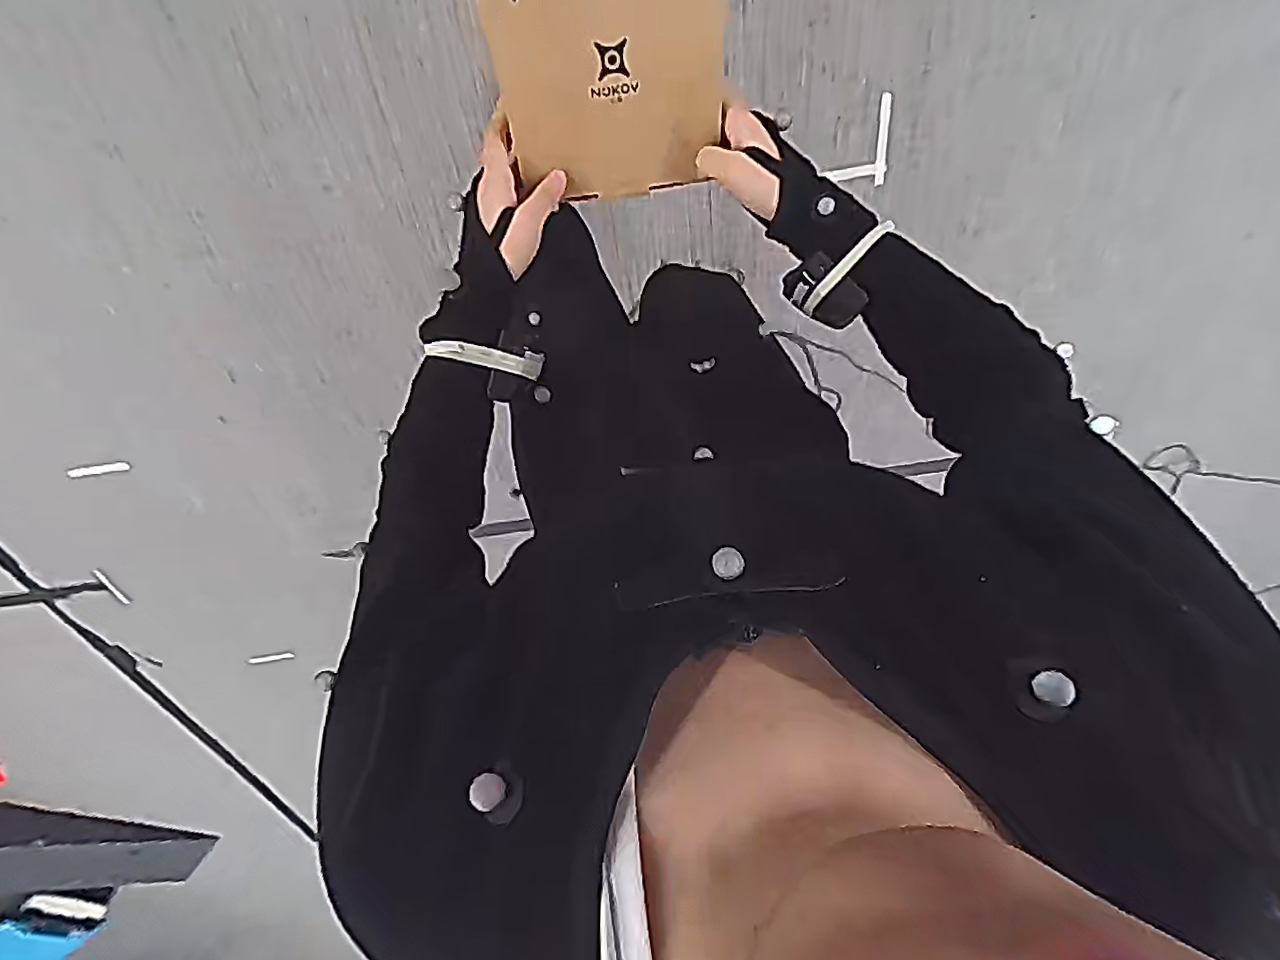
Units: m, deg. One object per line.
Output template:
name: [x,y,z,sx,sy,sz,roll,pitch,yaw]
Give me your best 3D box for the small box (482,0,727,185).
small box: [-0.032,-0.371,0.425,0.168,0.176,0.179,-10,147,-1]
